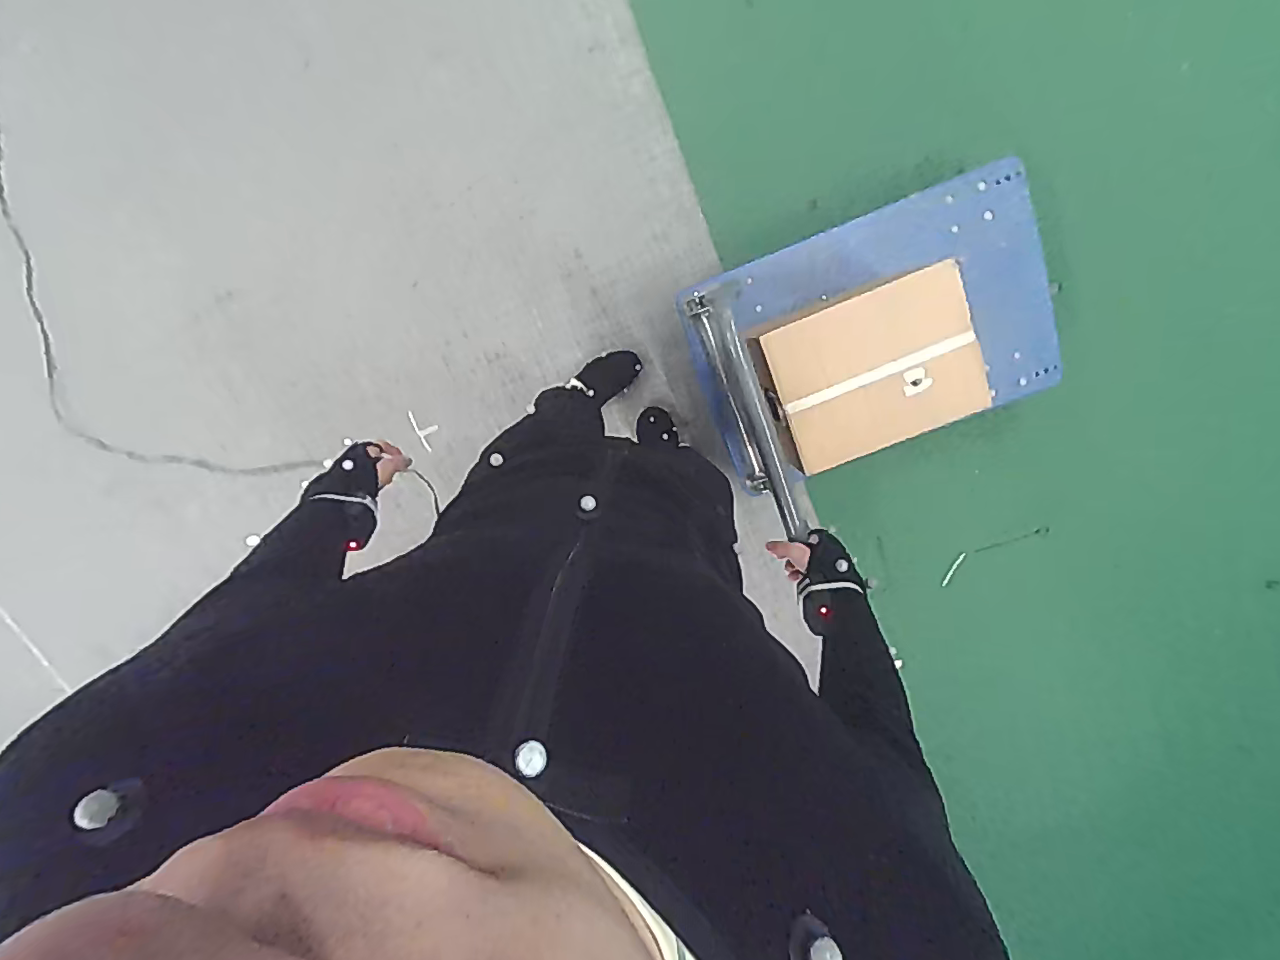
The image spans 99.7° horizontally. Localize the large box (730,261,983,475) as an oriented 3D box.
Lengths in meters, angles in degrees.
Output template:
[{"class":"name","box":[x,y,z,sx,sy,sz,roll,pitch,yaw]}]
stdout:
[{"class":"large box","box":[0.466,-0.251,1.239,0.408,0.320,0.320,-21,104,4]}]
